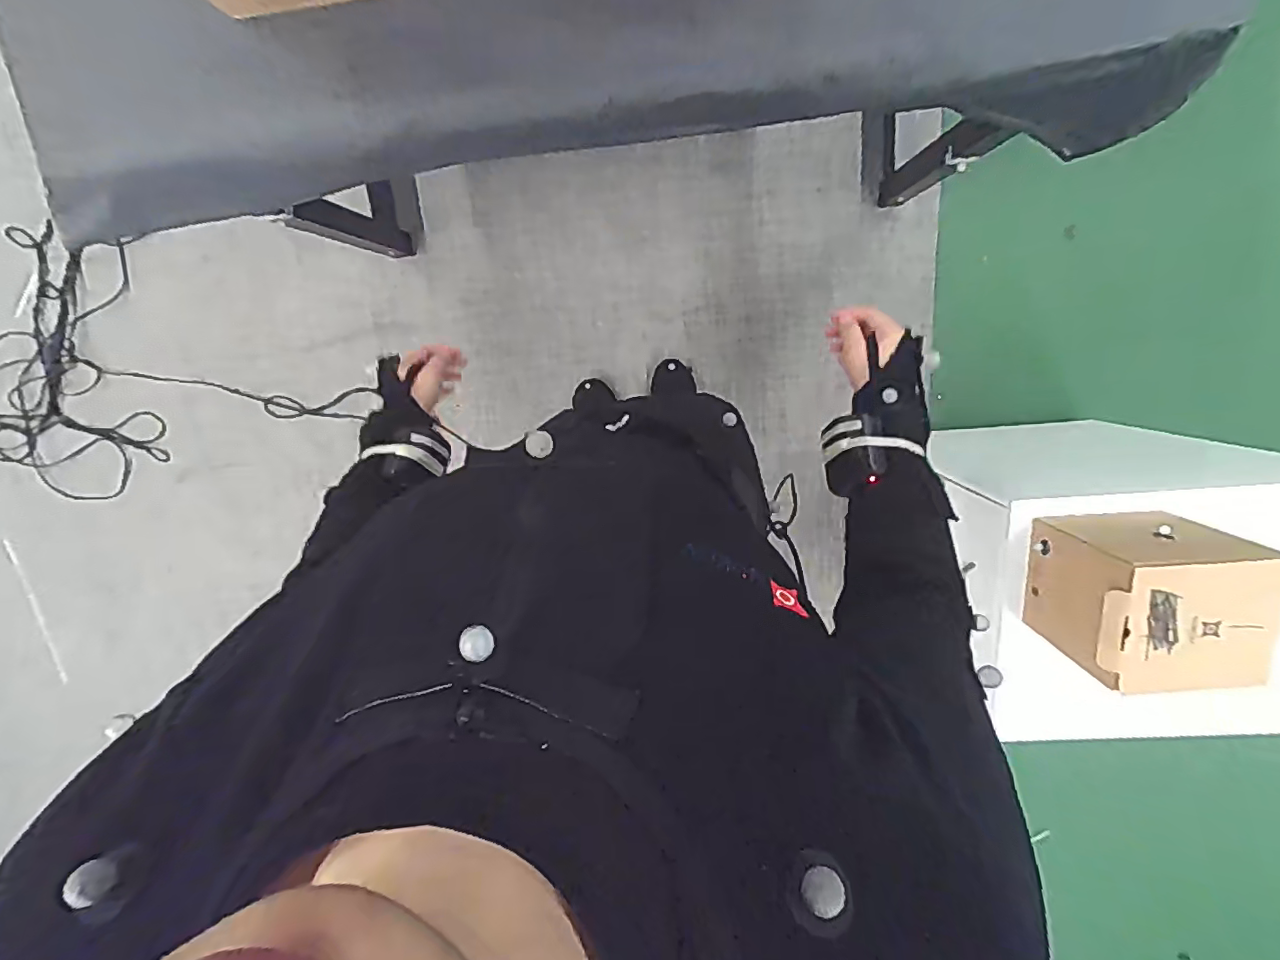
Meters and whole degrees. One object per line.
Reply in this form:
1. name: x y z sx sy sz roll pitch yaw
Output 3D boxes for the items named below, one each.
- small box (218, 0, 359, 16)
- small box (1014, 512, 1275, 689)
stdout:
1. small box: -0.341 -0.527 0.429 0.168 0.176 0.179 -6 103 3
2. small box: 0.625 0.145 0.698 0.179 0.176 0.168 -4 104 2
